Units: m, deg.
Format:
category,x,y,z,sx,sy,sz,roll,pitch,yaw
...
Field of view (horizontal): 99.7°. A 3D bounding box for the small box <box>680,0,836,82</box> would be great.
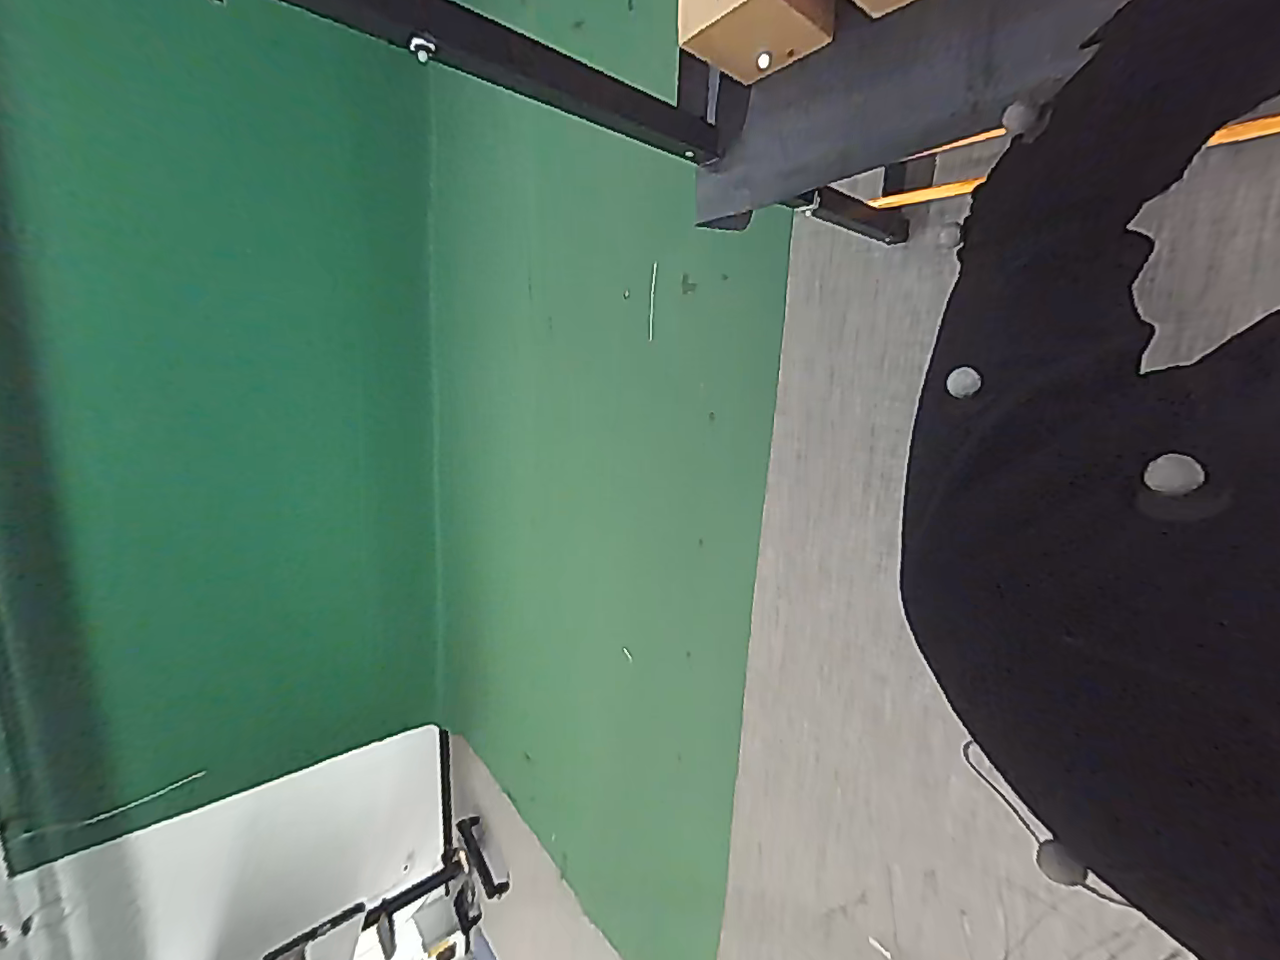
category,x,y,z,sx,sy,sz,roll,pitch,yaw
small box,0.178,-0.743,0.799,0.168,0.176,0.179,12,105,49
